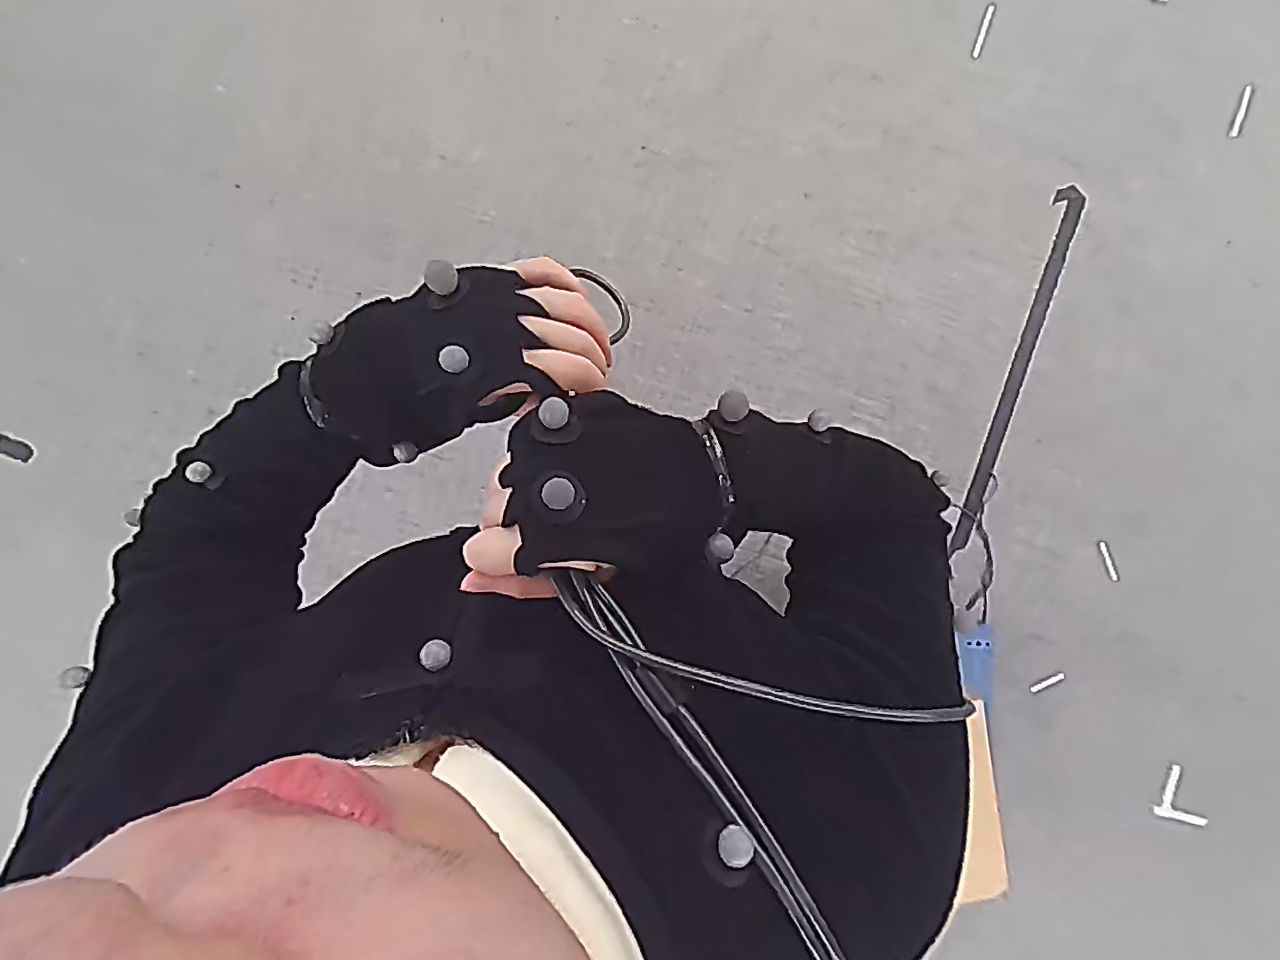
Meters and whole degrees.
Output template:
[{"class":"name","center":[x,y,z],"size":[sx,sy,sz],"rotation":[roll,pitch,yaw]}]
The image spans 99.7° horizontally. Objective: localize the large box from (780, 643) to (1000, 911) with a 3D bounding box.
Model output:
[{"class":"large box","center":[0.535,0.633,1.220],"size":[0.320,0.320,0.408],"rotation":[-9,92,-2]}]
